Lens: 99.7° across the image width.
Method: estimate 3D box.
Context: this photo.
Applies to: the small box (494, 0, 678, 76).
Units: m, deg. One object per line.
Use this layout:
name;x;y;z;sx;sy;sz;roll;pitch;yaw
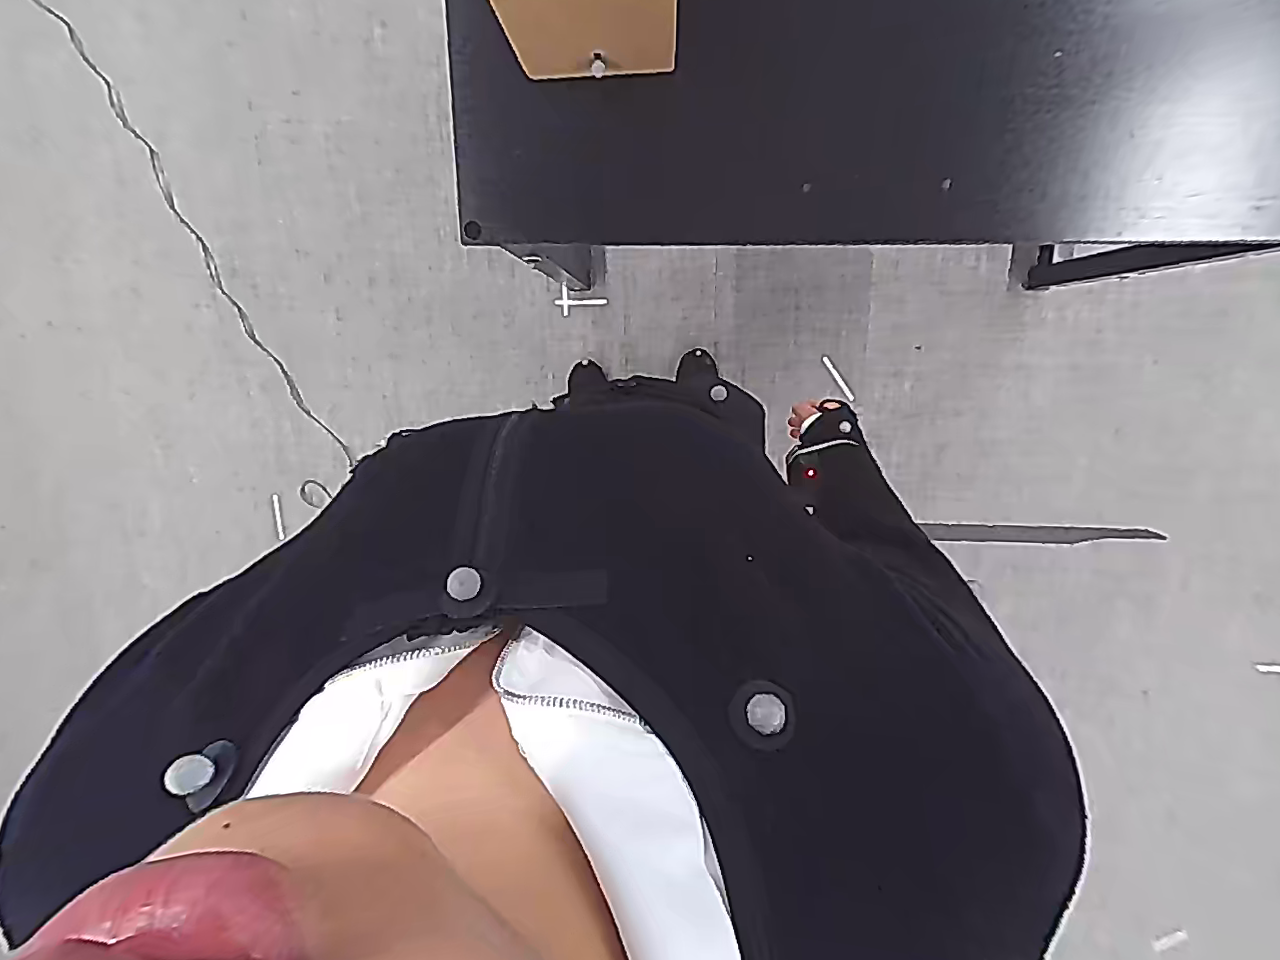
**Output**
small box;-0.052;-0.541;0.544;0.179;0.176;0.168;-2;103;2
